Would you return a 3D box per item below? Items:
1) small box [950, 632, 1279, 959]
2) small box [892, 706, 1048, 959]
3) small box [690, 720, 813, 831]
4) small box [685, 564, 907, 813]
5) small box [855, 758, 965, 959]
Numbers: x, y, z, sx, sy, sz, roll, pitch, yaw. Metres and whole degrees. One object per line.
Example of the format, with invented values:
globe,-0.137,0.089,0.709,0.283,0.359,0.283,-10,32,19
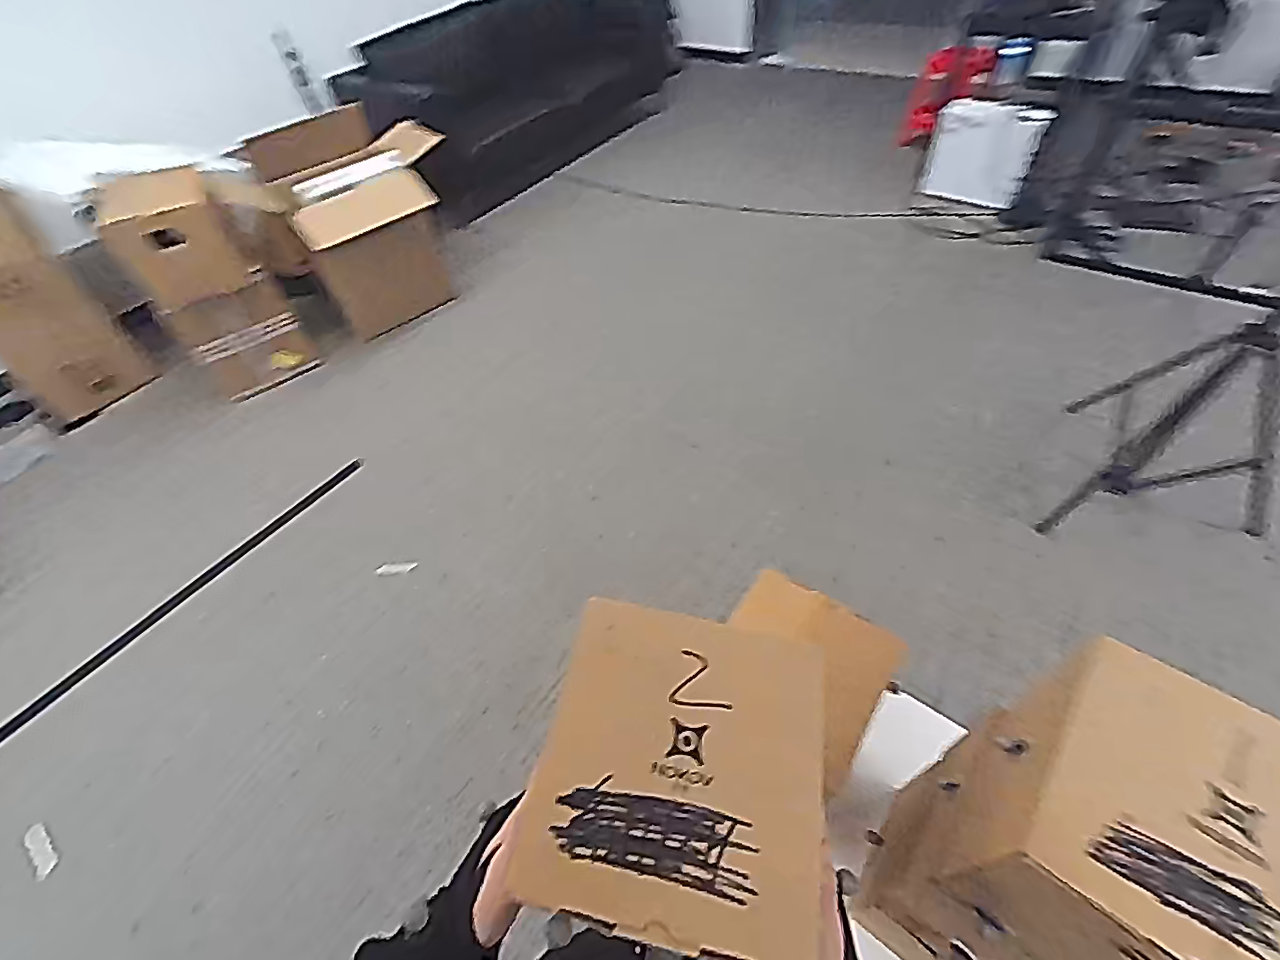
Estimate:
small box,0.342,0.248,0.367,0.168,0.176,0.179,30,58,29
small box,0.357,0.351,0.494,0.168,0.176,0.179,29,59,28
small box,0.180,0.337,0.737,0.168,0.176,0.179,27,58,25
small box,0.167,0.237,0.610,0.168,0.176,0.179,28,57,25
small box,0.365,0.461,0.614,0.168,0.176,0.179,30,60,27
